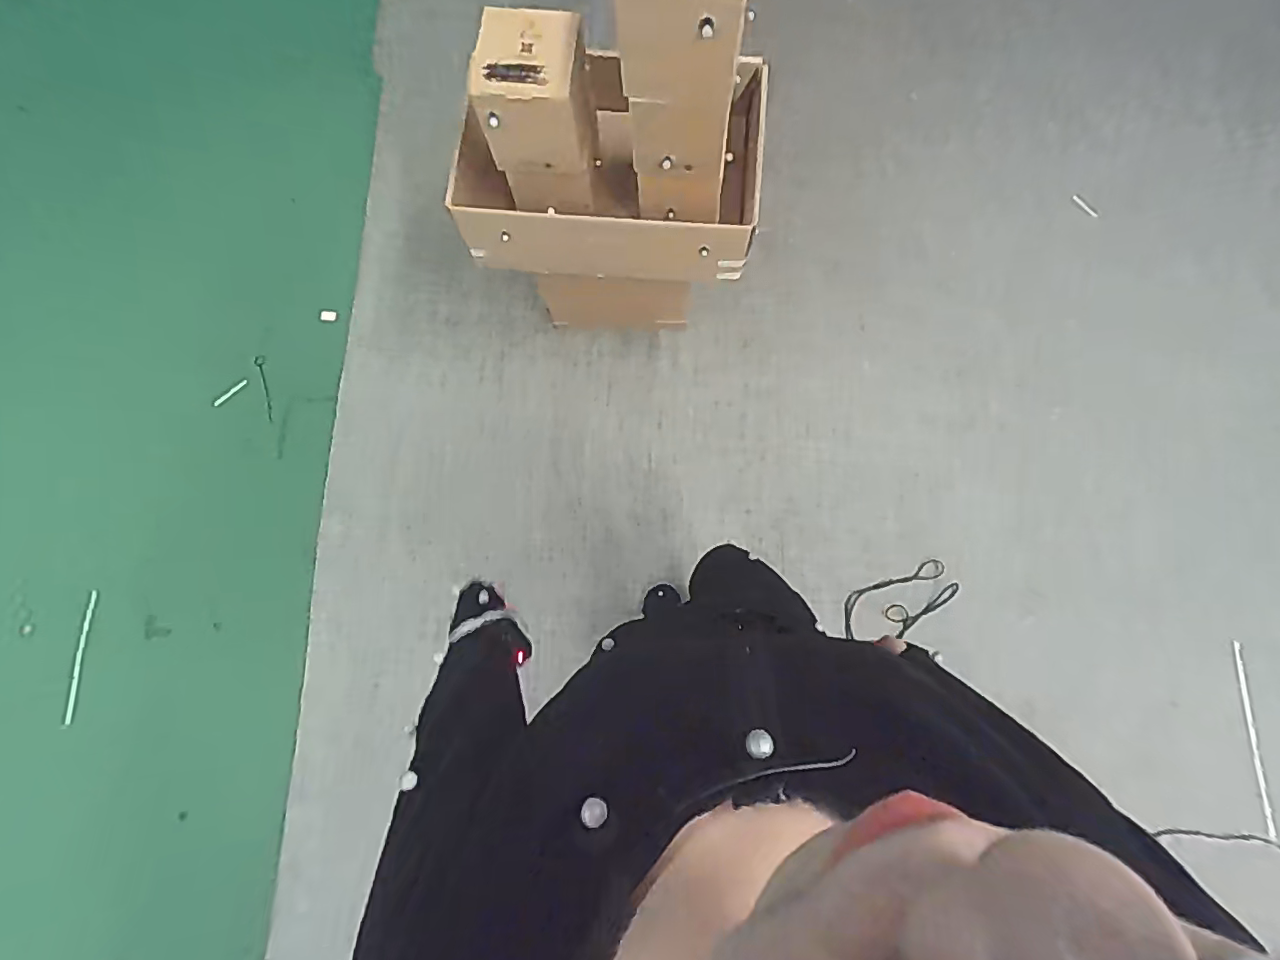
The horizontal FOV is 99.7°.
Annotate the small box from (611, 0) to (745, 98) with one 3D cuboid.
[{"bbox_3d":[0.063,-0.703,0.793,0.179,0.176,0.168,9,80,6],"label":"small box"}]

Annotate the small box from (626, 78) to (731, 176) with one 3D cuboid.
[{"bbox_3d":[0.073,-0.679,0.956,0.168,0.176,0.179,7,81,5],"label":"small box"}]
